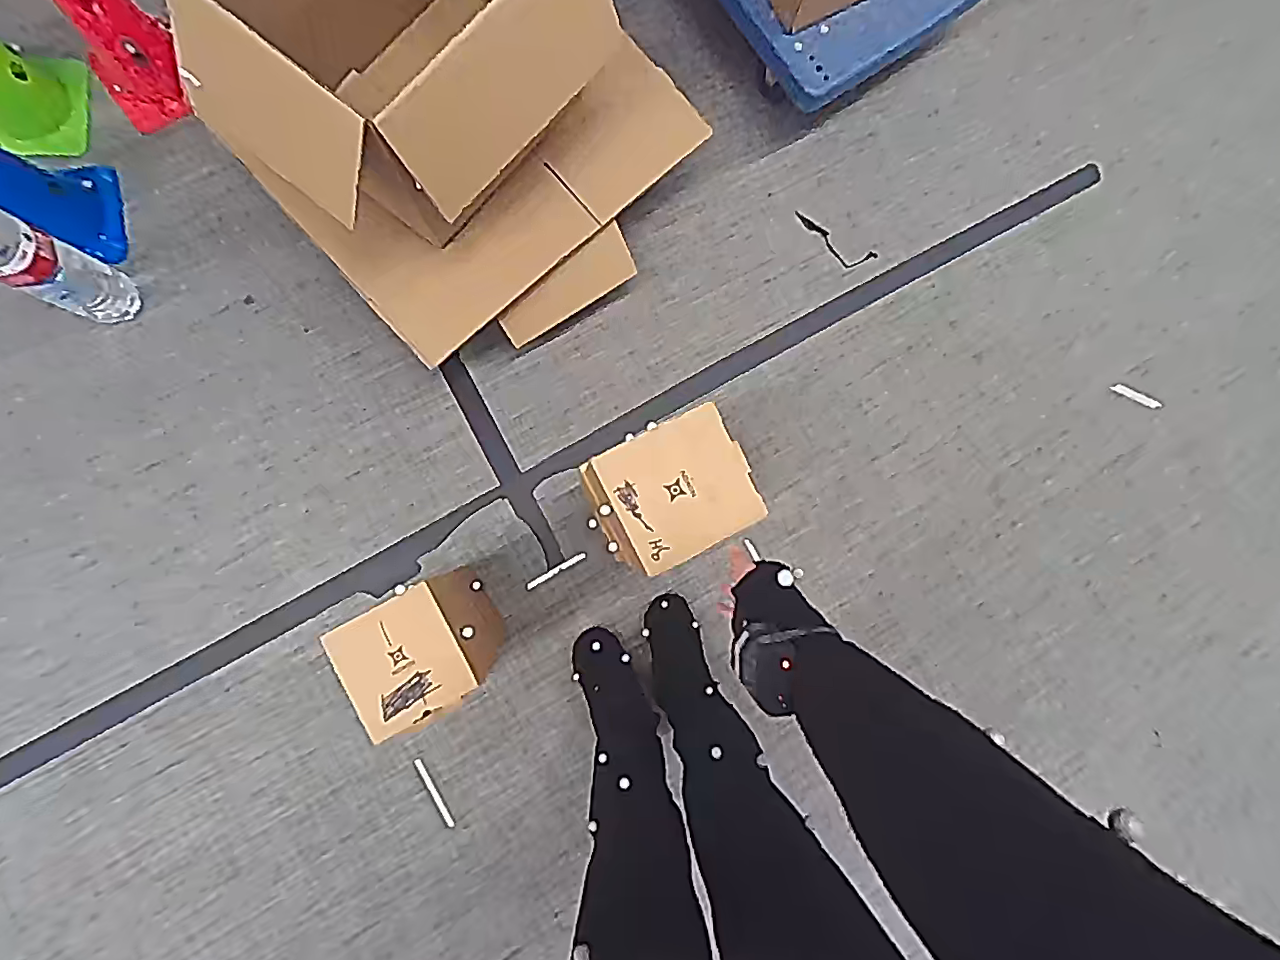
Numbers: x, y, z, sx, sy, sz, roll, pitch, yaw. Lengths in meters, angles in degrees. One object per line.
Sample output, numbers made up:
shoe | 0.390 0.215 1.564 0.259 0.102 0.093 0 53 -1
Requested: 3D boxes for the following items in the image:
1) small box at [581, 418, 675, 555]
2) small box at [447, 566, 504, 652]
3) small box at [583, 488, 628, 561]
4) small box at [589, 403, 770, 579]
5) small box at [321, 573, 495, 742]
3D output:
small box | 0.009 0.022 0.903 0.168 0.176 0.179 -28 91 -8
small box | -0.370 0.275 1.010 0.179 0.176 0.168 -31 89 -6
small box | -0.003 0.043 1.064 0.179 0.176 0.168 -24 89 -8
small box | 0.042 0.015 0.742 0.179 0.176 0.168 -26 91 -9
small box | -0.347 0.263 0.847 0.168 0.176 0.179 -28 88 -7
